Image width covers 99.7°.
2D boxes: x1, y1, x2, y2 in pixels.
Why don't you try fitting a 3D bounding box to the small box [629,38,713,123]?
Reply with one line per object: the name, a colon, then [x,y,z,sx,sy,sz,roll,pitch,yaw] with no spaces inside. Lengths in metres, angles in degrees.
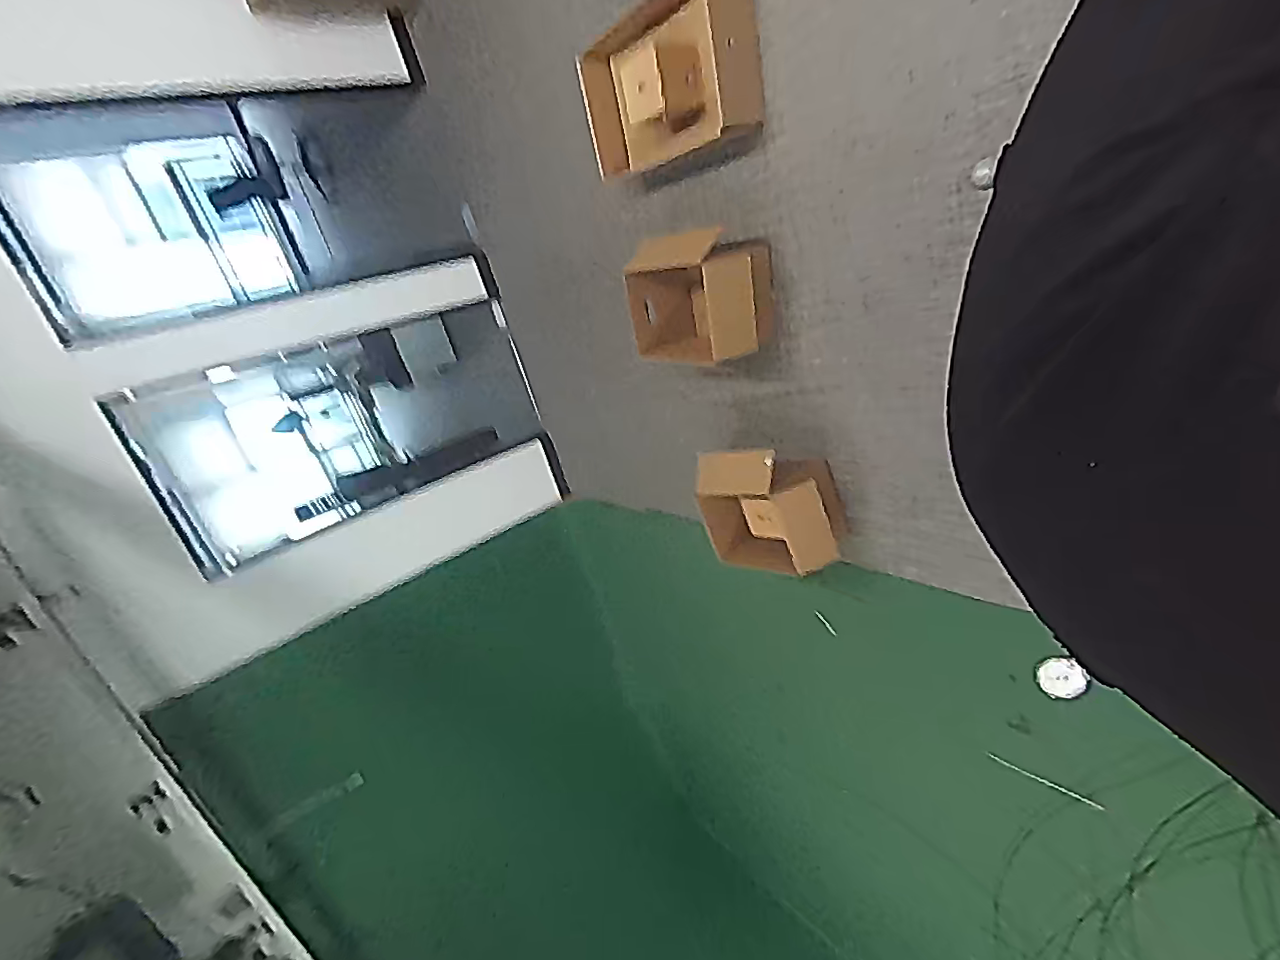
small box: [0.096,-1.210,1.649,0.179,0.176,0.168,18,128,52]
